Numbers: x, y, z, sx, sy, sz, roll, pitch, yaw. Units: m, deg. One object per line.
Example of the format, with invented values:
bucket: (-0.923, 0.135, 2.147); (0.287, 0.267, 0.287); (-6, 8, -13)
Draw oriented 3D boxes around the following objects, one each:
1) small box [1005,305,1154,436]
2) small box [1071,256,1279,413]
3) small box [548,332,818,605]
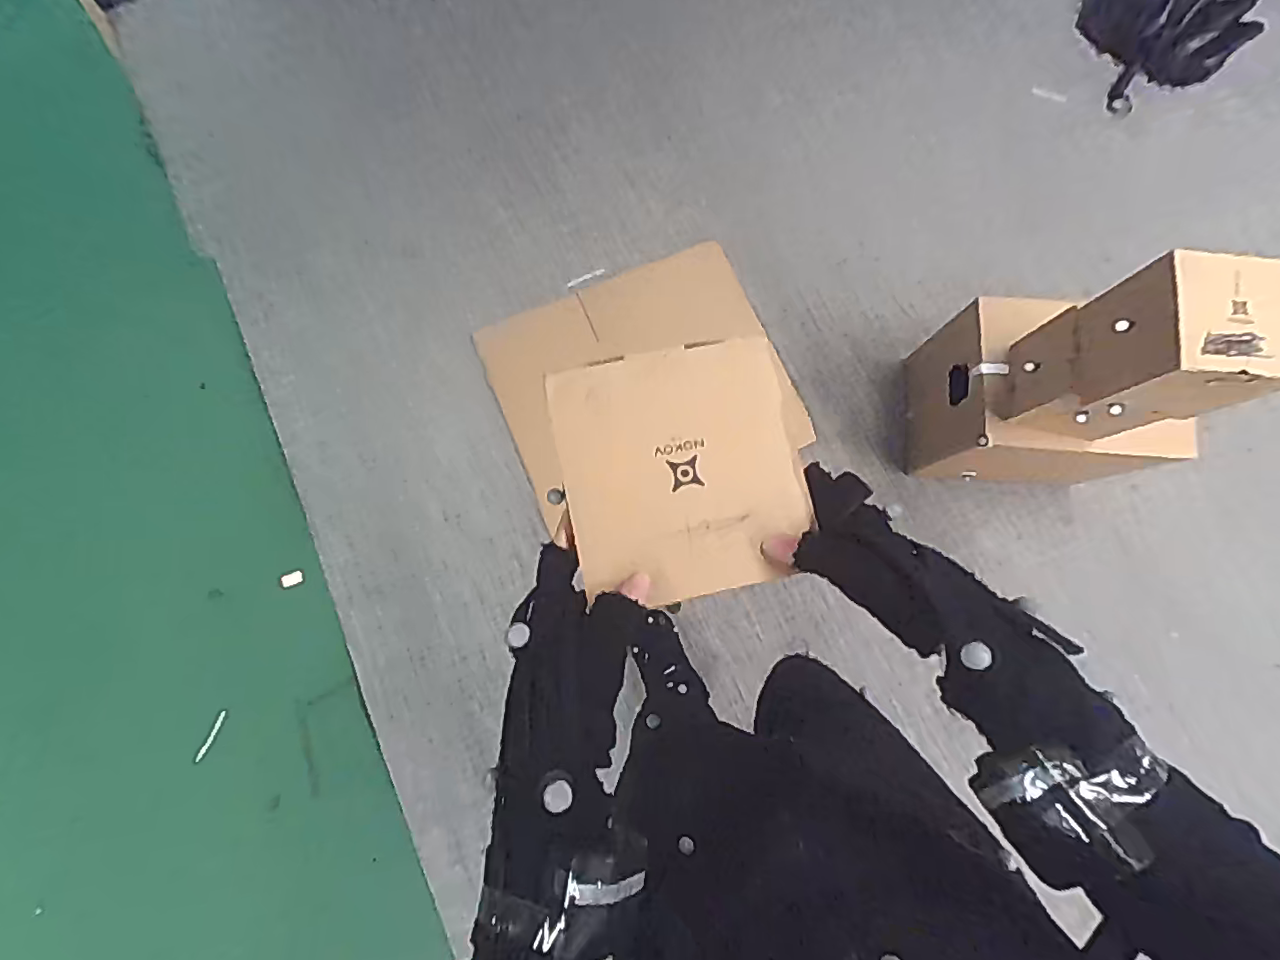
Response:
small box: (0.790, -0.187, 0.967); (0.179, 0.176, 0.168); (9, 78, 2)
small box: (0.785, -0.204, 0.800); (0.168, 0.176, 0.179); (3, 81, 2)
small box: (0.023, 0.001, 0.462); (0.168, 0.176, 0.179); (-12, 82, -6)
